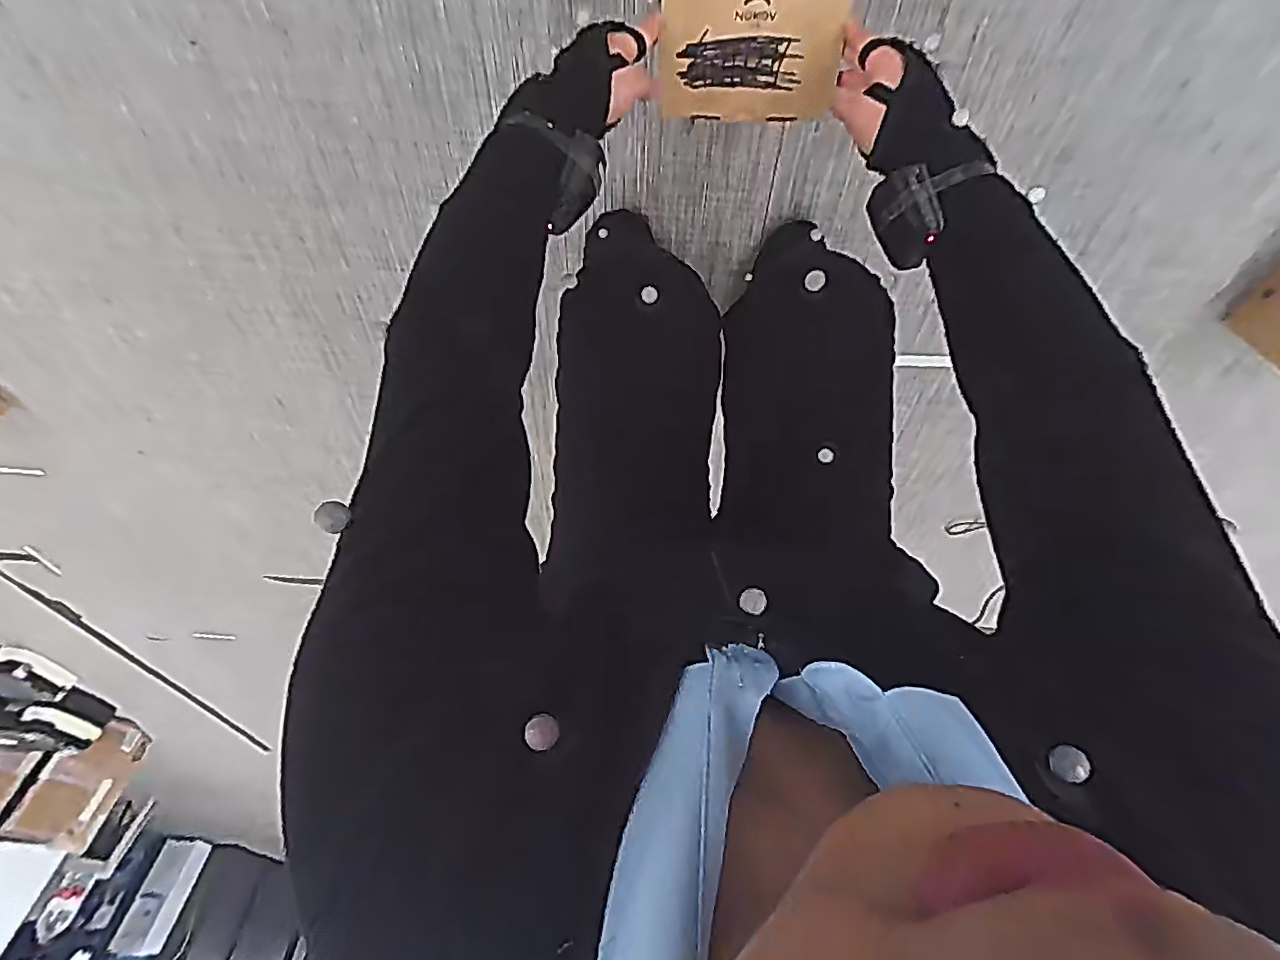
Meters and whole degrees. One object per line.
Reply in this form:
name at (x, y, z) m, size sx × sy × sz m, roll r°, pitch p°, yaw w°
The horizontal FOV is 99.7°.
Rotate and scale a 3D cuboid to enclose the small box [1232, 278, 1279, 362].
small box at (0.995, -0.224, 0.731) m, size 0.179 × 0.176 × 0.168 m, roll 10°, pitch 137°, yaw -6°
